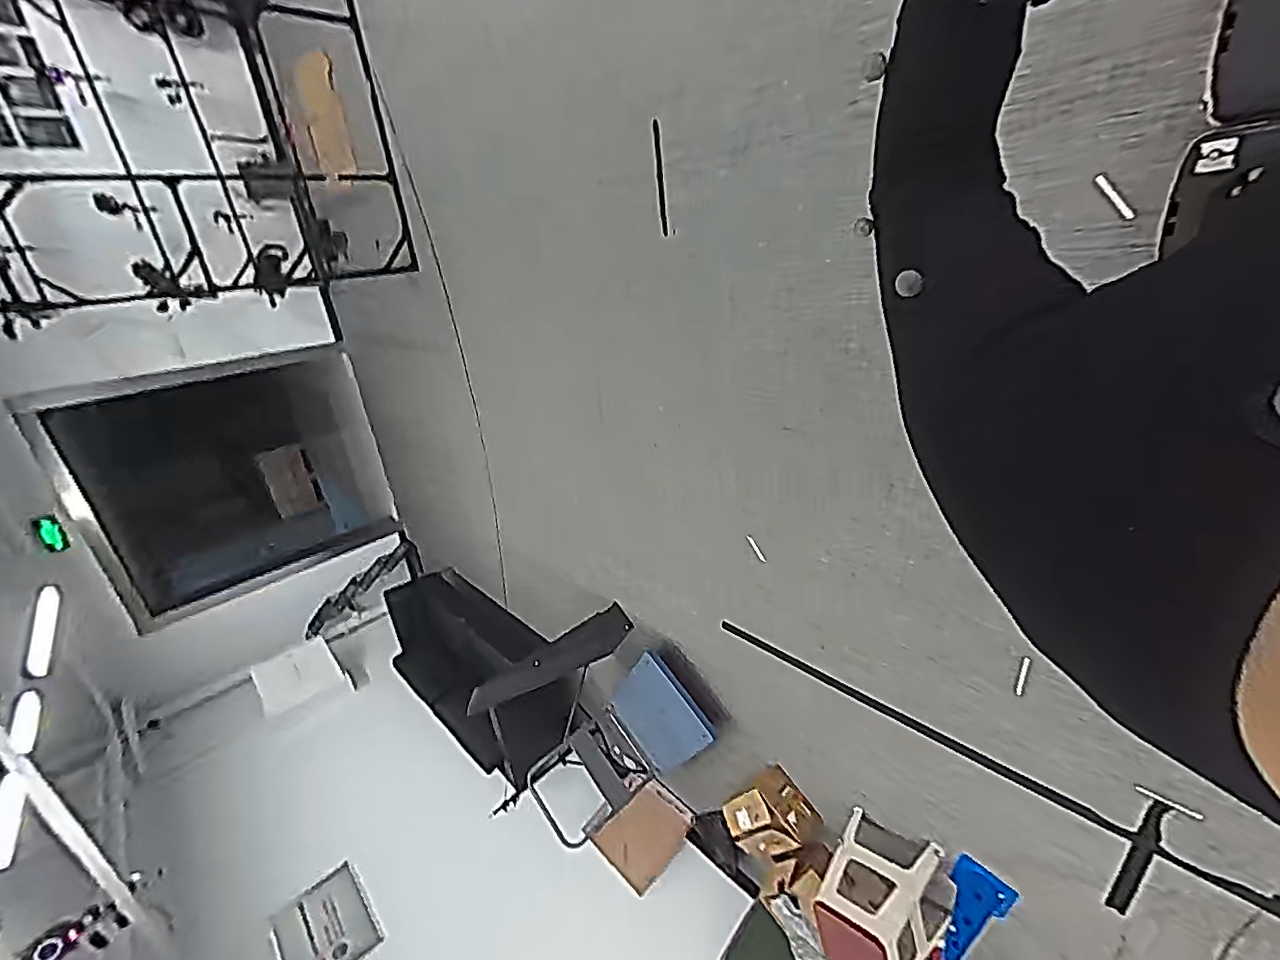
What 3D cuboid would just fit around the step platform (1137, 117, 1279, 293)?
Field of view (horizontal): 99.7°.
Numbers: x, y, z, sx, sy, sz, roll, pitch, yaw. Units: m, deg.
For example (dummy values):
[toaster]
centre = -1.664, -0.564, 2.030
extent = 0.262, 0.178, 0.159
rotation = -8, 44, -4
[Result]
[step platform]
centre = 1.266, -0.467, 0.869
extent = 0.684, 0.204, 0.286
rotation = 17, 122, 46
